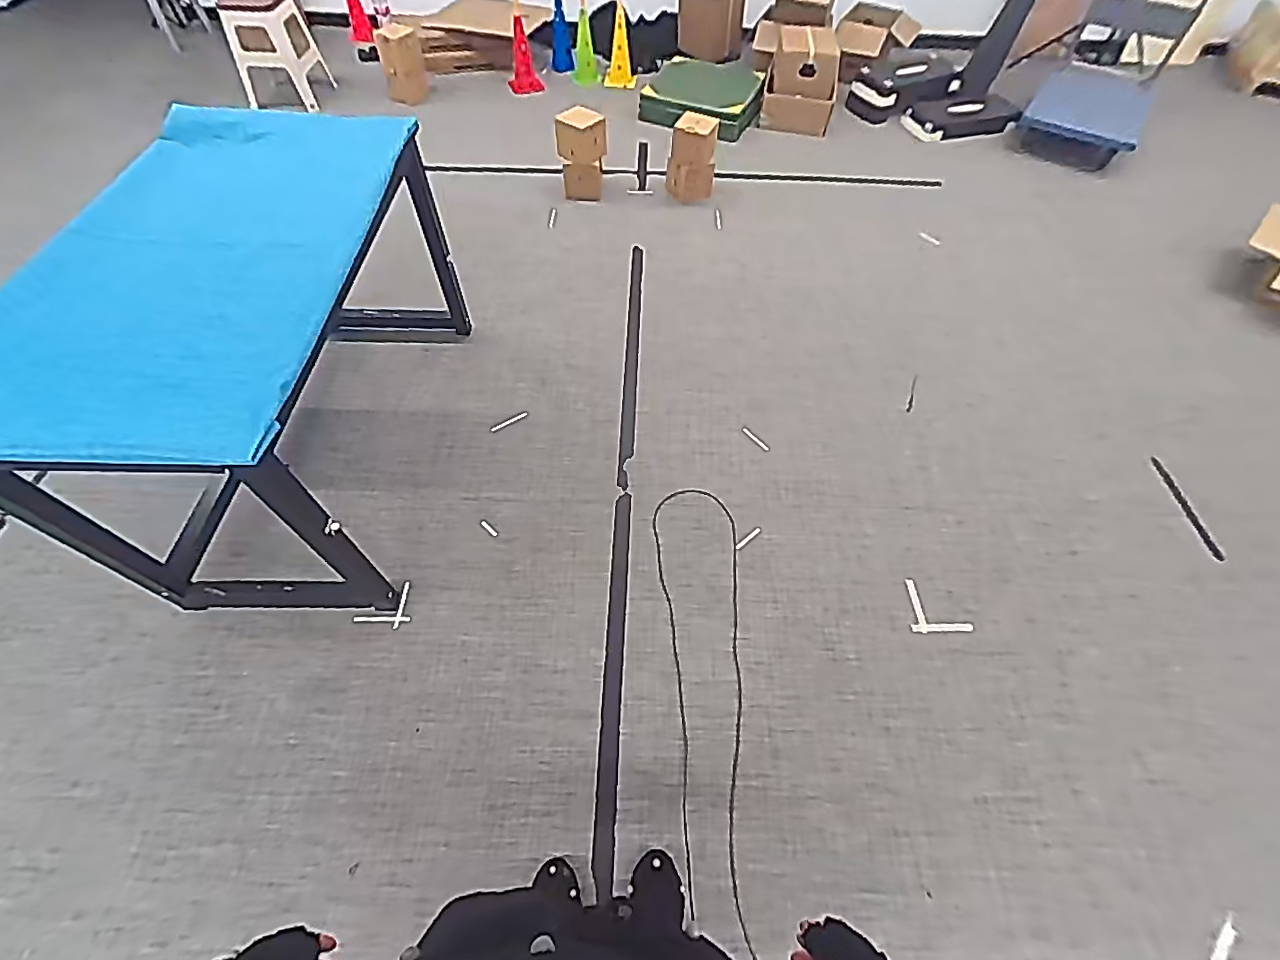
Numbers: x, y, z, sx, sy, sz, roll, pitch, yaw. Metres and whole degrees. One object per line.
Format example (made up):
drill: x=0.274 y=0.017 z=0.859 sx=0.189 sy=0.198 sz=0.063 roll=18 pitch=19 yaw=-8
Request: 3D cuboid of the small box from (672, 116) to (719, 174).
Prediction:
small box: x=0.260 y=-1.584 z=2.563 sx=0.168 sy=0.176 sz=0.179 roll=23 pitch=58 yaw=10

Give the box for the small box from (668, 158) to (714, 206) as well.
small box: x=0.249 y=-1.502 z=2.704 sx=0.179 sy=0.176 sz=0.168 roll=-24 pitch=62 yaw=-17

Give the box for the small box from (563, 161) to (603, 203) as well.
small box: x=-0.276 y=-1.501 z=2.682 sx=0.179 sy=0.176 sz=0.168 roll=3 pitch=55 yaw=1

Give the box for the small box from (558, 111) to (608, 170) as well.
small box: x=-0.271 y=-1.605 z=2.551 sx=0.179 sy=0.176 sz=0.168 roll=33 pitch=60 yaw=20
